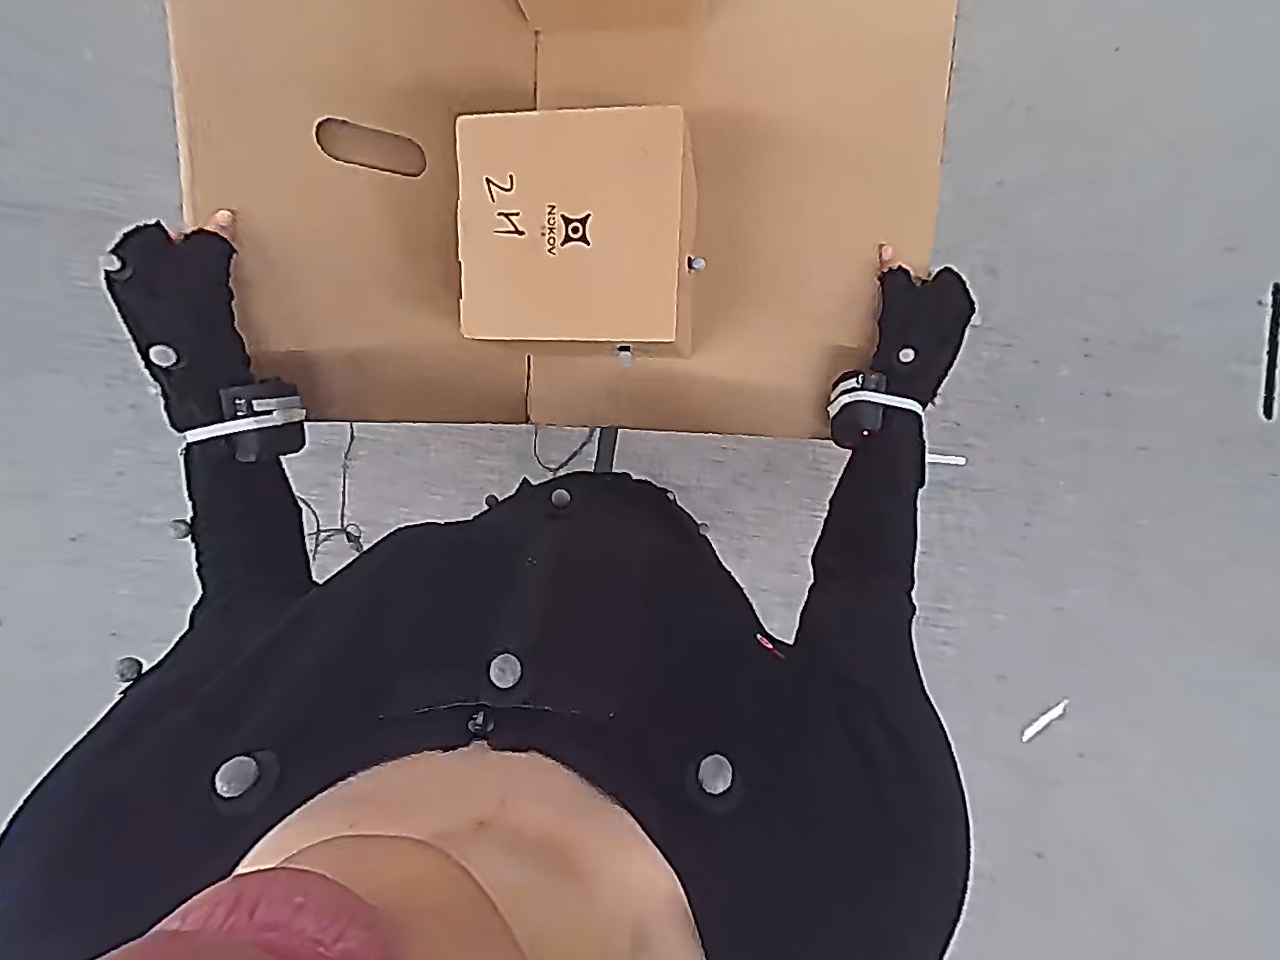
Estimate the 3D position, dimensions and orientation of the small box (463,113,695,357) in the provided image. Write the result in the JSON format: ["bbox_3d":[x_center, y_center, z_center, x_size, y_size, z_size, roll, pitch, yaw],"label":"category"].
[{"bbox_3d":[-0.043,-0.205,0.497,0.179,0.176,0.168,4,98,9],"label":"small box"}]
